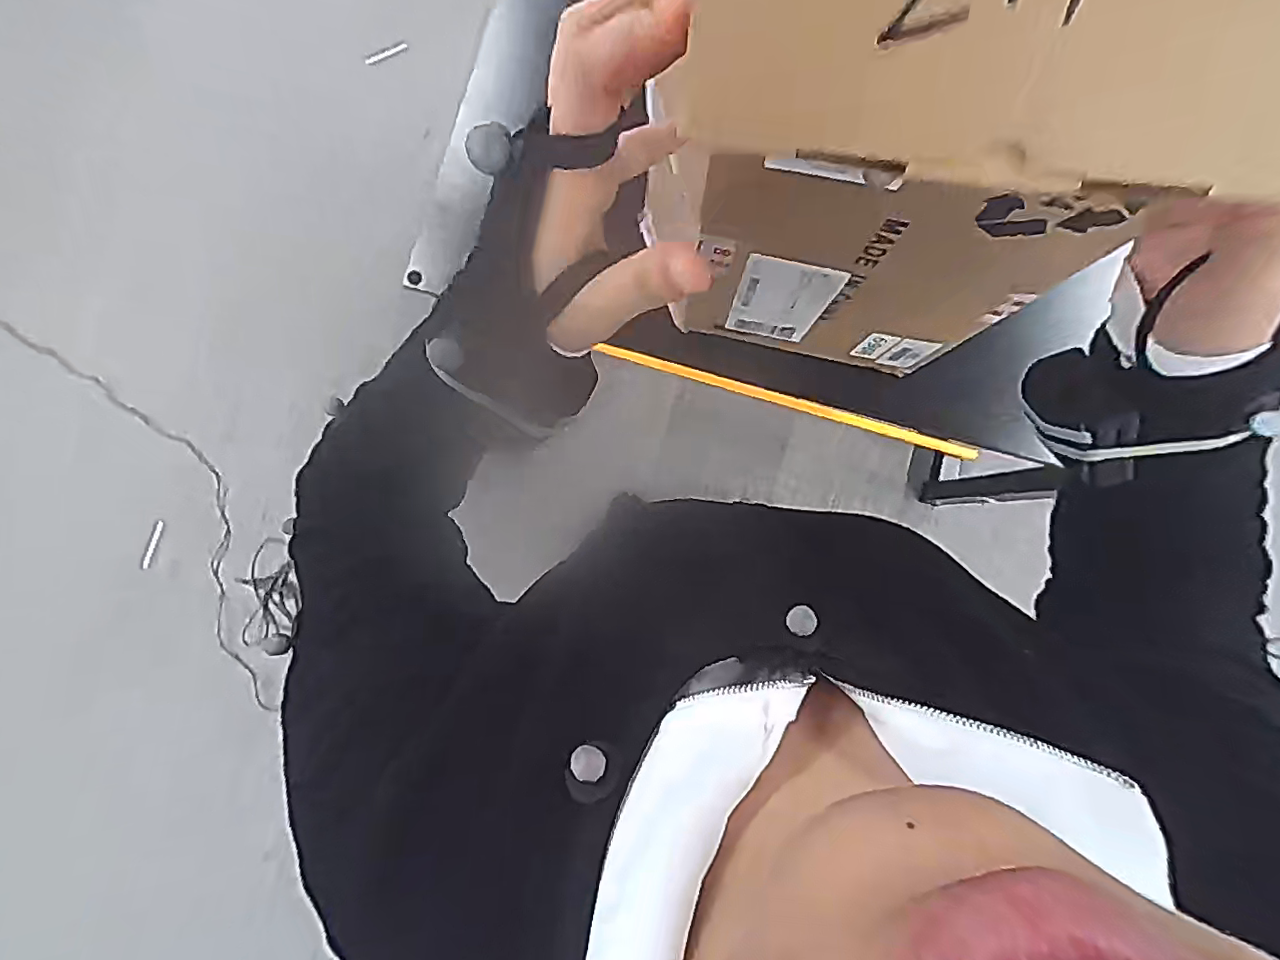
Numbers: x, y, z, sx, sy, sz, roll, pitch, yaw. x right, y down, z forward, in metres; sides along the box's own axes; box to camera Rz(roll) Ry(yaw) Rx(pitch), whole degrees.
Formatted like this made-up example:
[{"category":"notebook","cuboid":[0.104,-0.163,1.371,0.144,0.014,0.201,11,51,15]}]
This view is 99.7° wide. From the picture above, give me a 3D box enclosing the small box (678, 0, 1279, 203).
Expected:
[{"category":"small box","cuboid":[0.106,-0.200,0.158,0.168,0.176,0.179,8,128,3]}]
